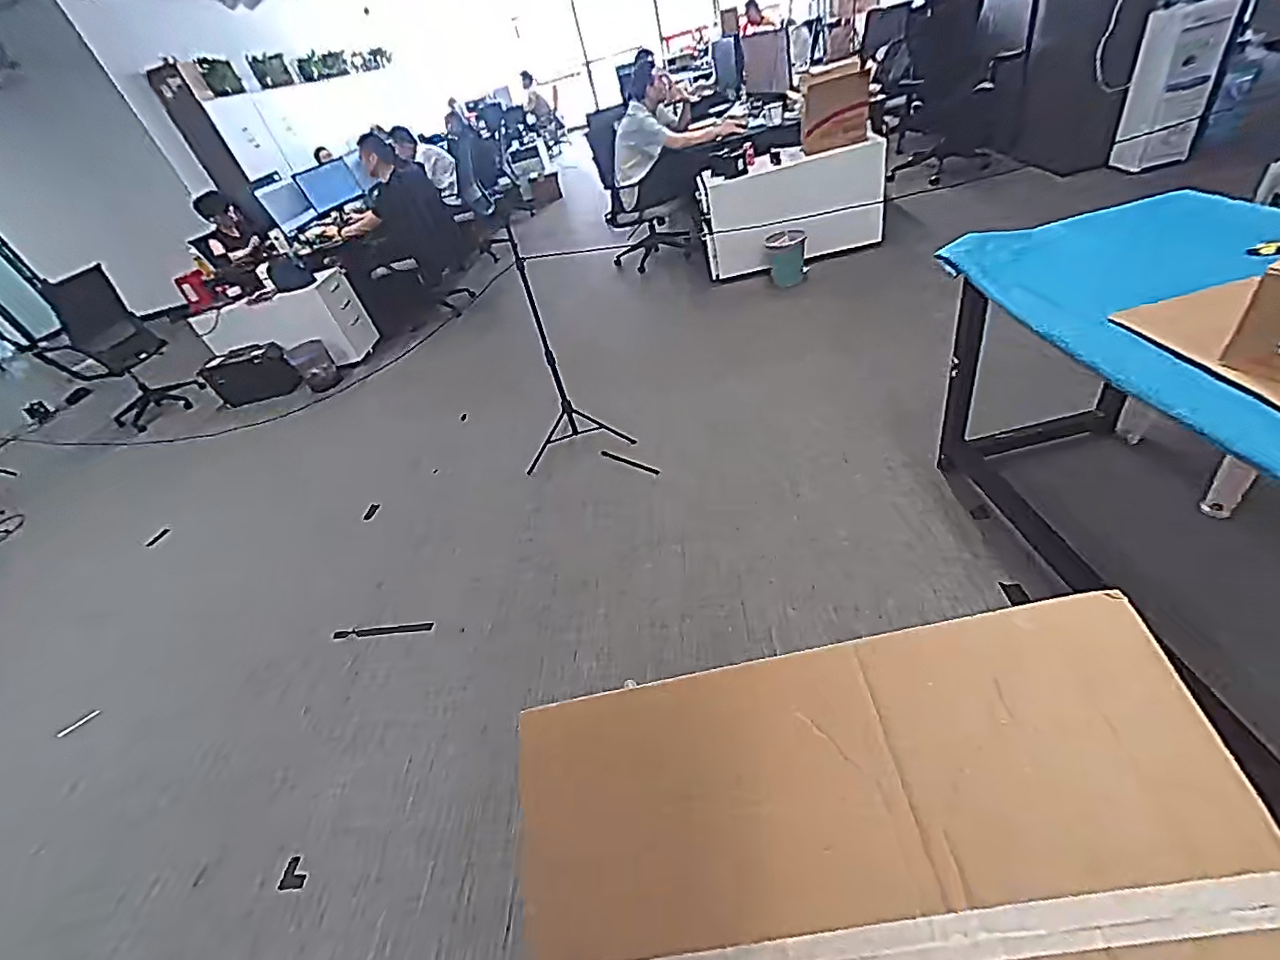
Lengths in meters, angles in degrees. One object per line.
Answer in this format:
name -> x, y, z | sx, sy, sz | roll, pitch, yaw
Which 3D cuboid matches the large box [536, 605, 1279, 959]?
large box -> 0.170, 0.332, 0.423 | 0.408, 0.320, 0.320 | -15, 59, 8
